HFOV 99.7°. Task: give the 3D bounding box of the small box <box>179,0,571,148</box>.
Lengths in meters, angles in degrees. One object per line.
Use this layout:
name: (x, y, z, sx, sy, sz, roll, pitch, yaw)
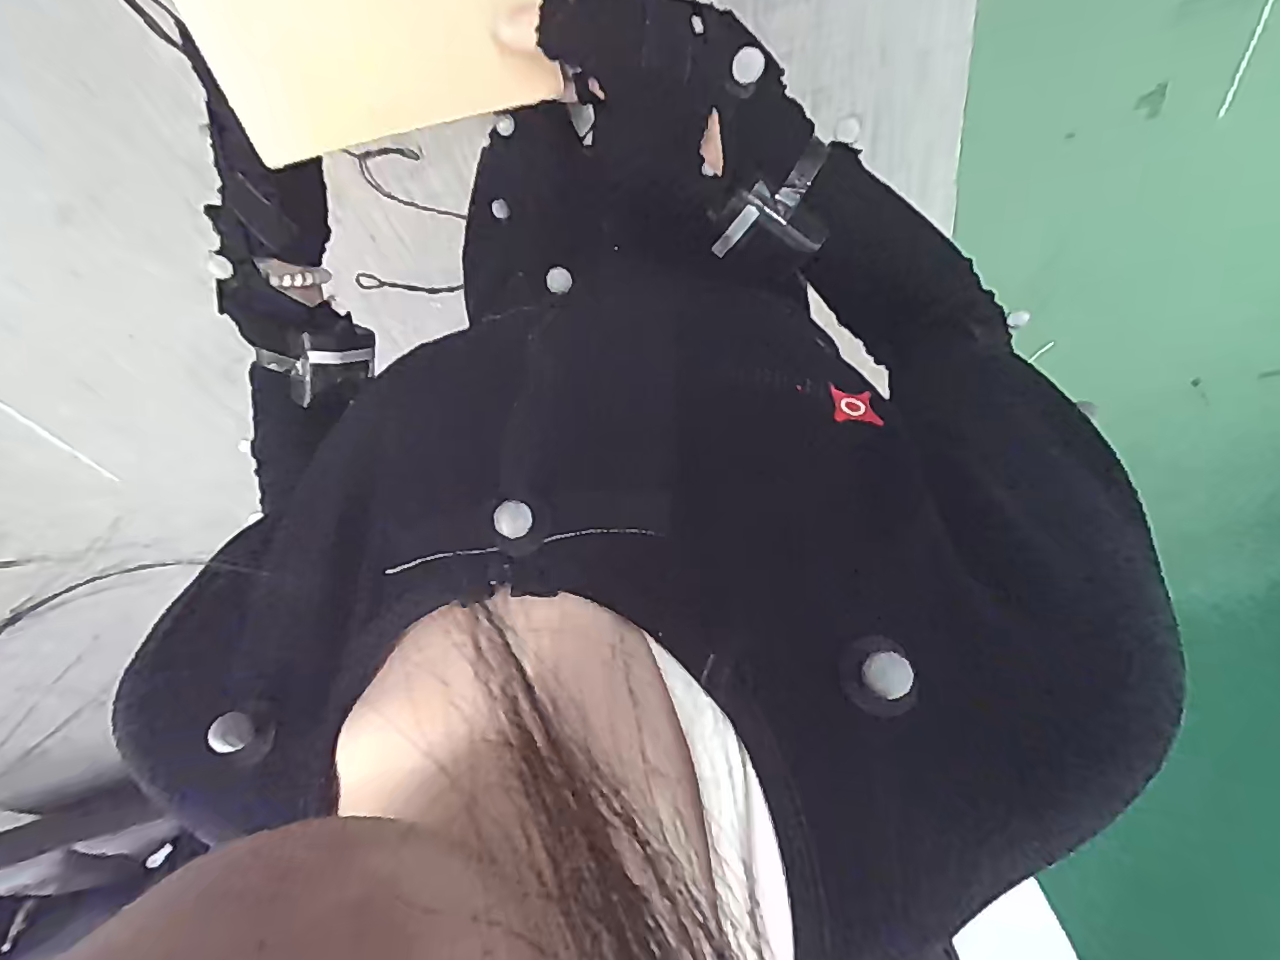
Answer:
small box: (-0.153, -0.305, 0.308, 0.179, 0.176, 0.168, -18, 128, -5)
